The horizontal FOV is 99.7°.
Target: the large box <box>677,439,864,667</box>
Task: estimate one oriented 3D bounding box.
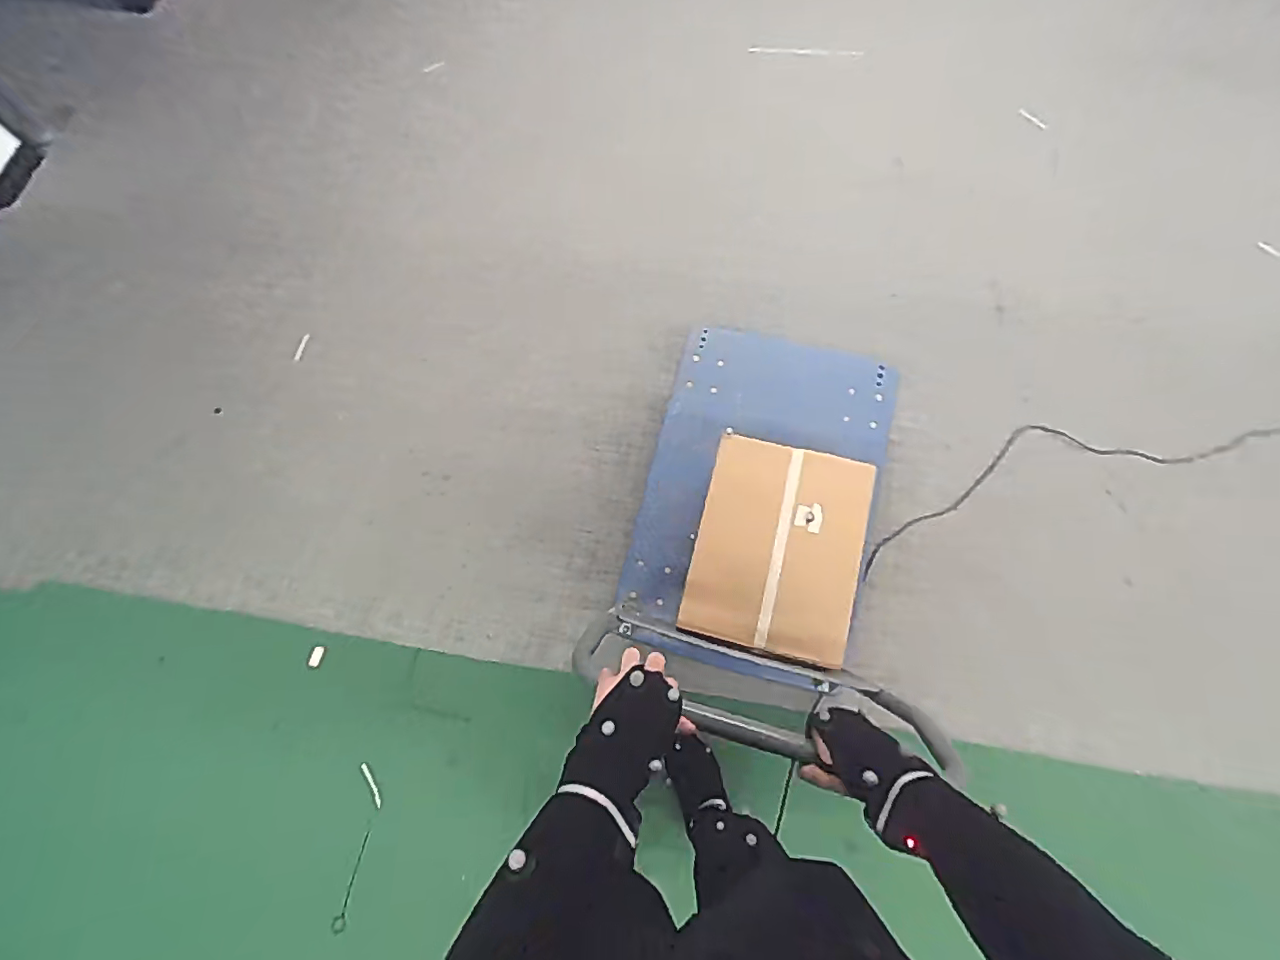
[{"bbox_3d":[0.272,0.172,1.205,0.320,0.320,0.408,13,76,7],"label":"large box"}]
